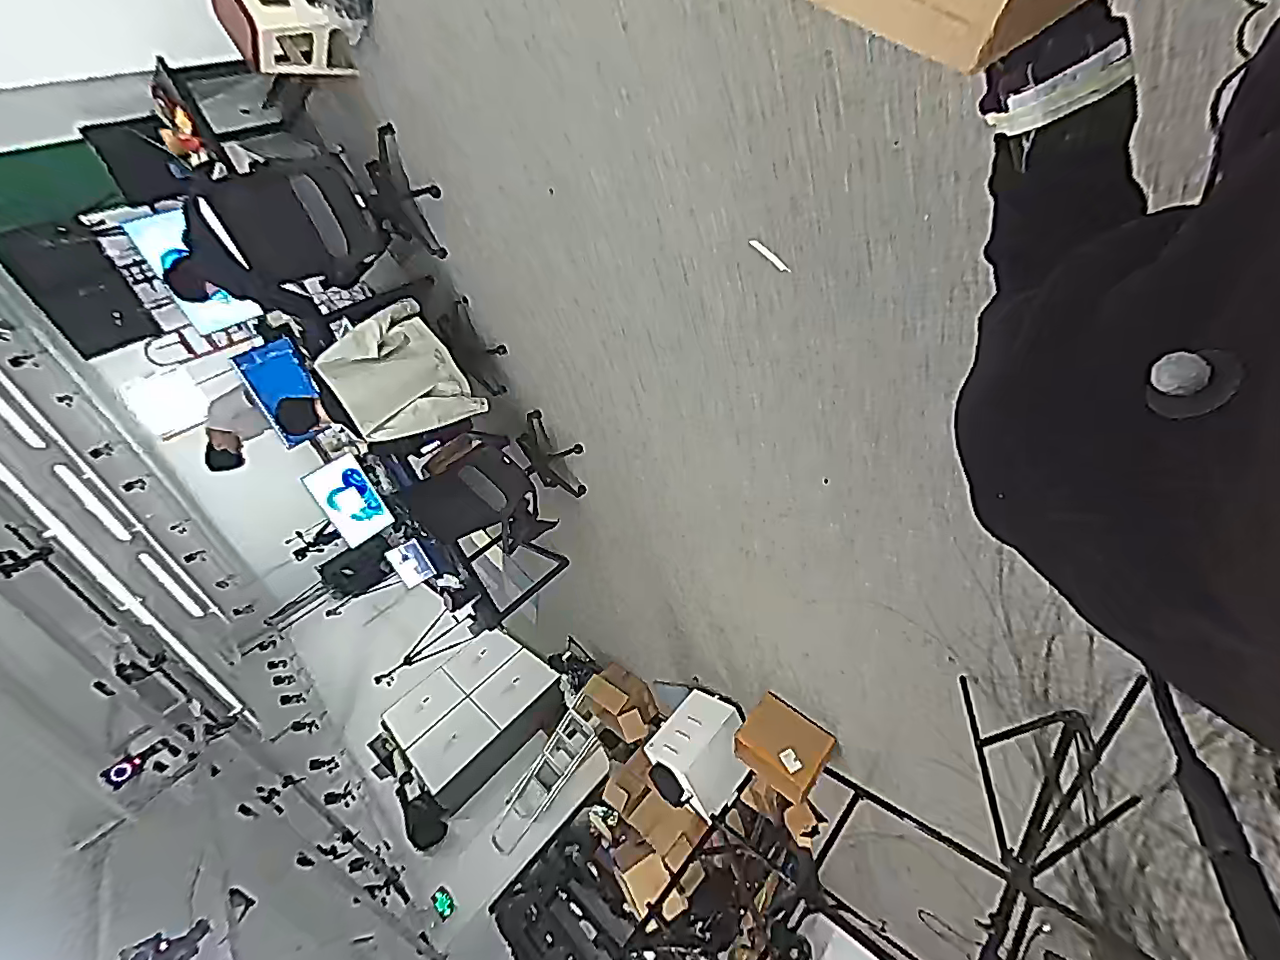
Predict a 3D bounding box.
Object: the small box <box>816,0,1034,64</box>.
[{"bbox_3d":[0.140,-0.313,0.210,0.179,0.176,0.168,43,159,19],"label":"small box"}]
